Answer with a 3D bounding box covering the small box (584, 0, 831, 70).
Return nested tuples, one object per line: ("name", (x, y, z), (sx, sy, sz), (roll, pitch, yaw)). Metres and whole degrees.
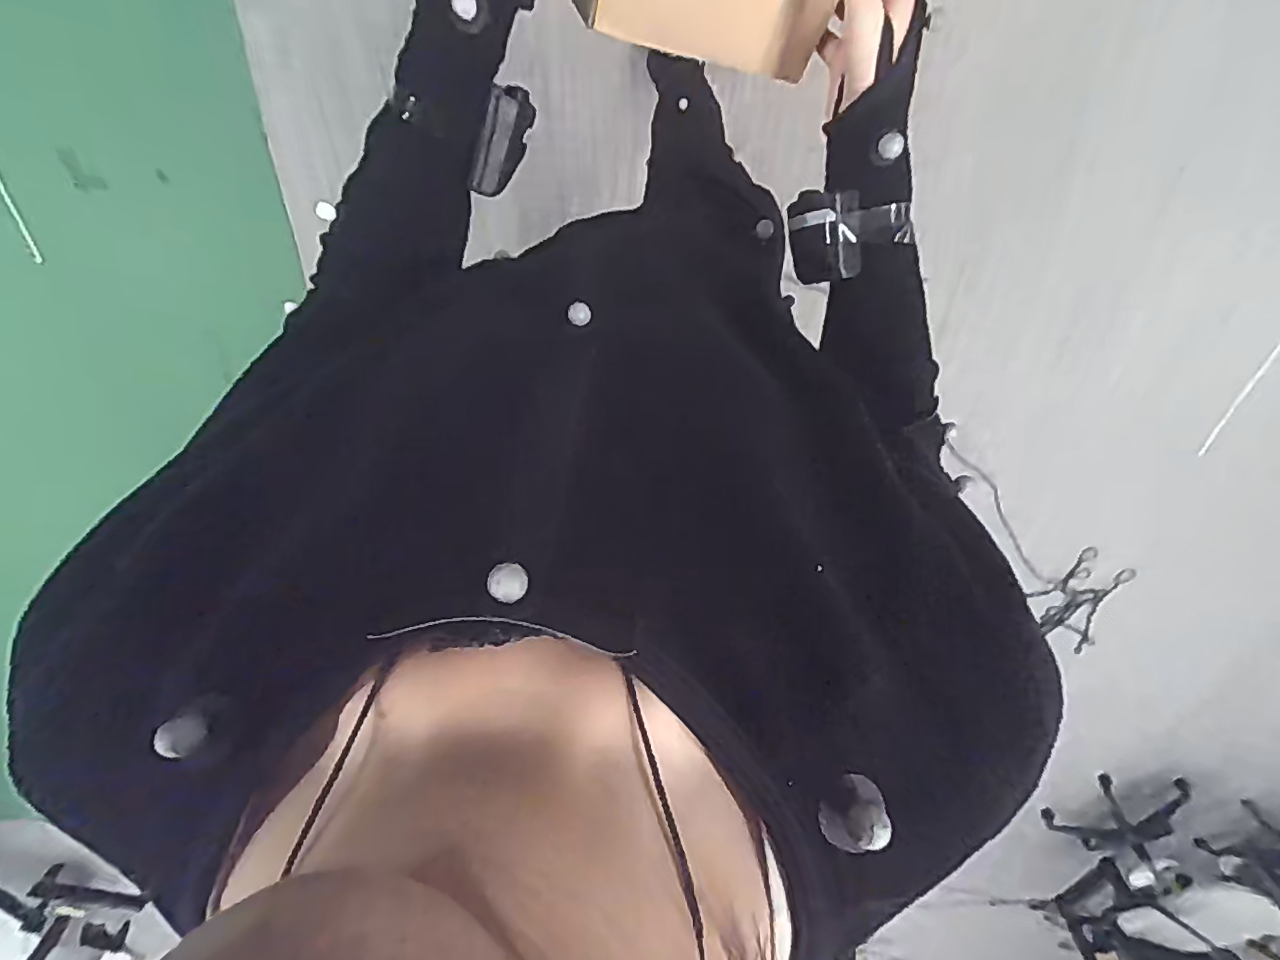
("small box", (0.041, -0.410, 0.341), (0.179, 0.176, 0.168), (-8, 152, -26))
